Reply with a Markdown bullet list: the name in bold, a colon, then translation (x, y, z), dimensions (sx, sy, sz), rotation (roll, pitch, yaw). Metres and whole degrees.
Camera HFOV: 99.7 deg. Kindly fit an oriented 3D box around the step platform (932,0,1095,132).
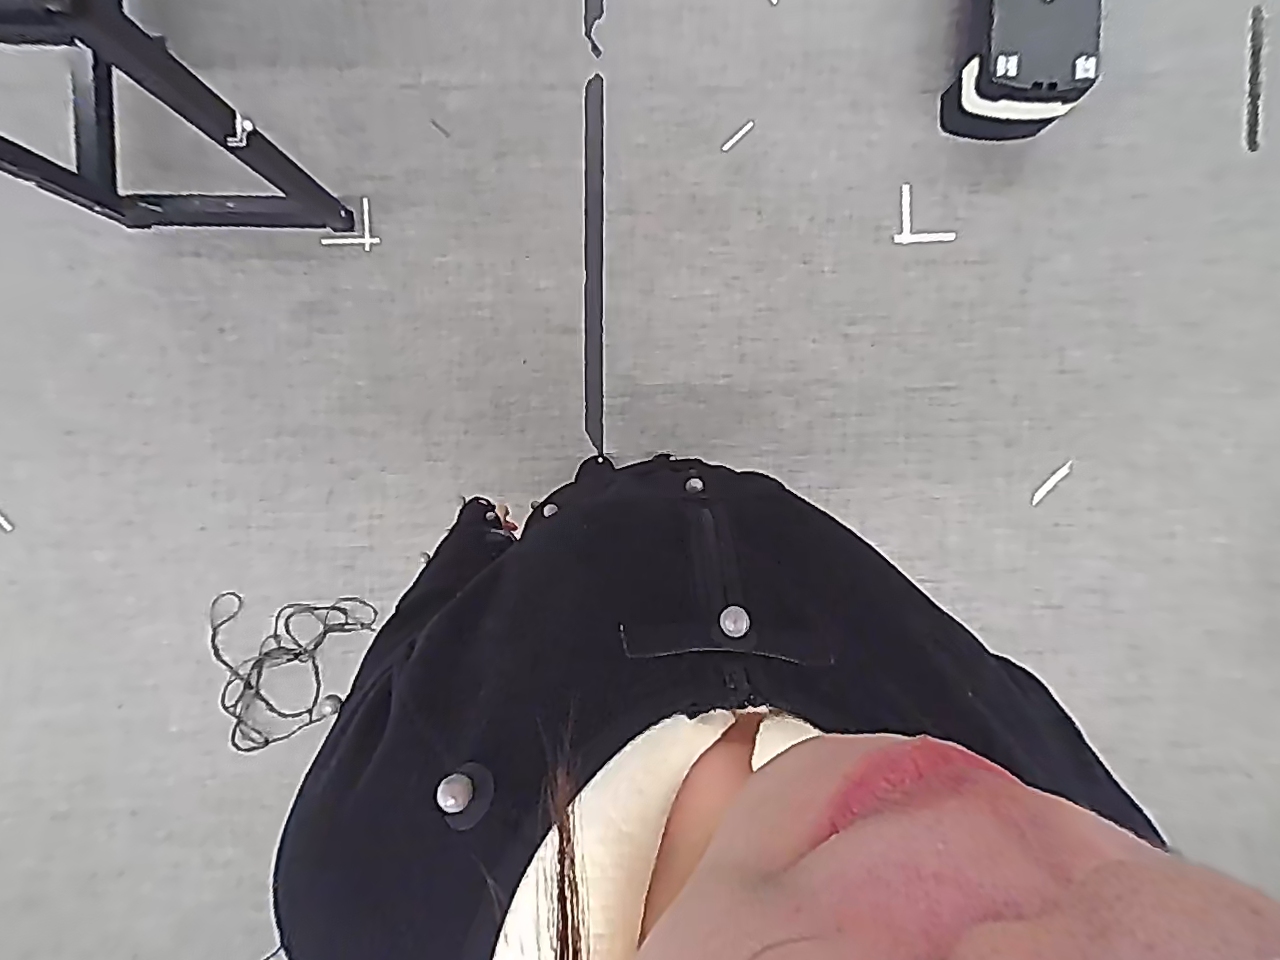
- **step platform**: translation (0.964, -1.288, 1.366), dimensions (0.286, 0.204, 0.684), rotation (5, 92, -2)
